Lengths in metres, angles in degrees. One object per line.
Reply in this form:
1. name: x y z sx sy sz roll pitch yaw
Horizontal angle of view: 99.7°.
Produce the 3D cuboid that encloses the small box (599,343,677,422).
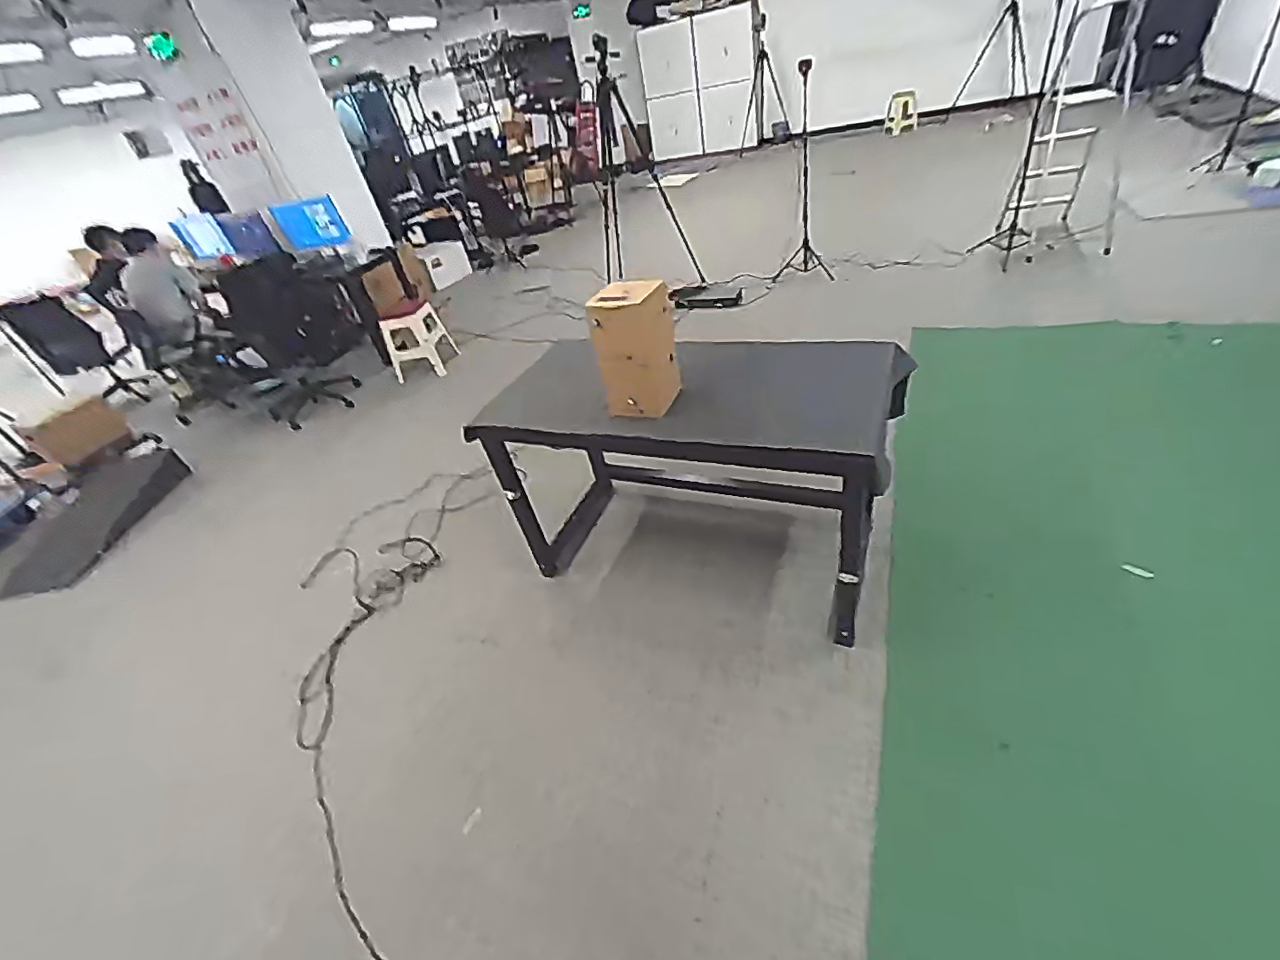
1. small box: 0.003 -0.287 1.575 0.168 0.176 0.179 5 40 24
